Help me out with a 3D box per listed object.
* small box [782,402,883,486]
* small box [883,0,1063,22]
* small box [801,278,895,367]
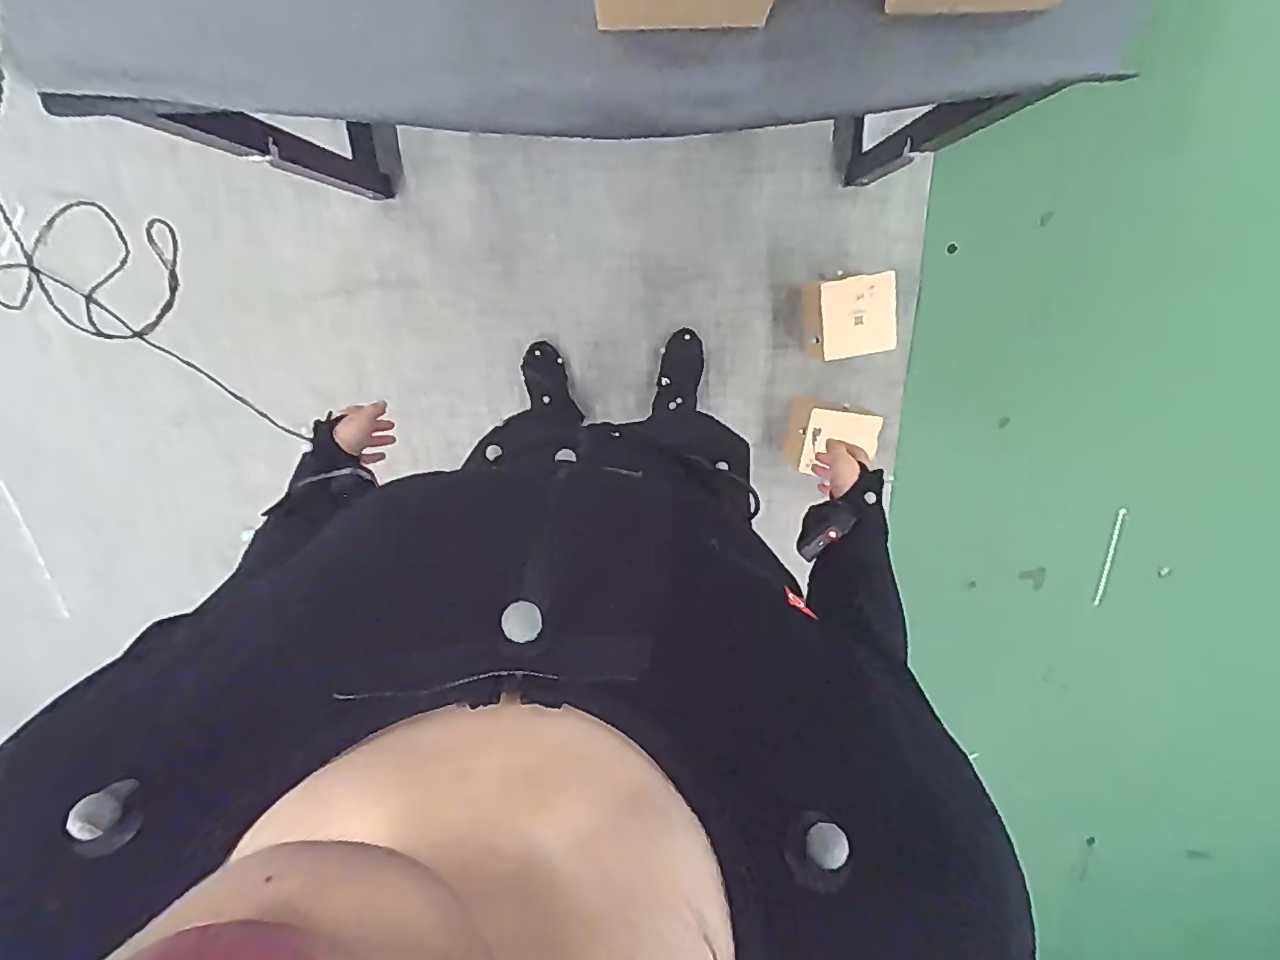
[{"bbox_3d":[0.484,-0.097,1.383,0.179,0.176,0.168,8,110,-2],"label":"small box"},{"bbox_3d":[0.335,-0.531,0.460,0.179,0.176,0.168,0,105,2],"label":"small box"},{"bbox_3d":[0.490,-0.377,1.286,0.168,0.176,0.179,-9,109,3],"label":"small box"}]
